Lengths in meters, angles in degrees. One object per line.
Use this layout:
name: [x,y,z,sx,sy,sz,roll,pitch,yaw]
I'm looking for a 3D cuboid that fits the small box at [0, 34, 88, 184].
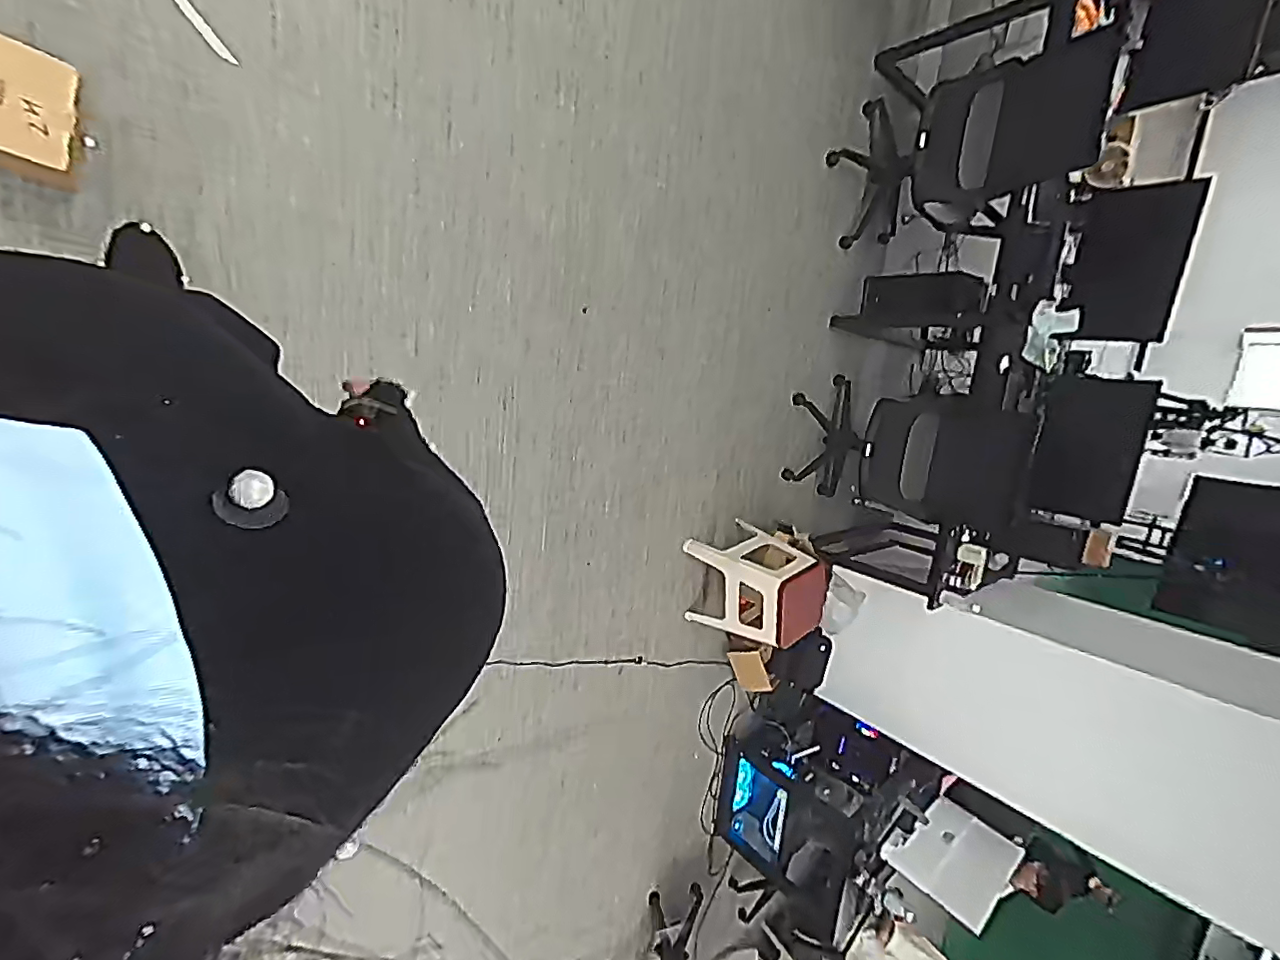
small box: [-1.025,-0.602,0.864,0.179,0.176,0.168,9,96,-43]
